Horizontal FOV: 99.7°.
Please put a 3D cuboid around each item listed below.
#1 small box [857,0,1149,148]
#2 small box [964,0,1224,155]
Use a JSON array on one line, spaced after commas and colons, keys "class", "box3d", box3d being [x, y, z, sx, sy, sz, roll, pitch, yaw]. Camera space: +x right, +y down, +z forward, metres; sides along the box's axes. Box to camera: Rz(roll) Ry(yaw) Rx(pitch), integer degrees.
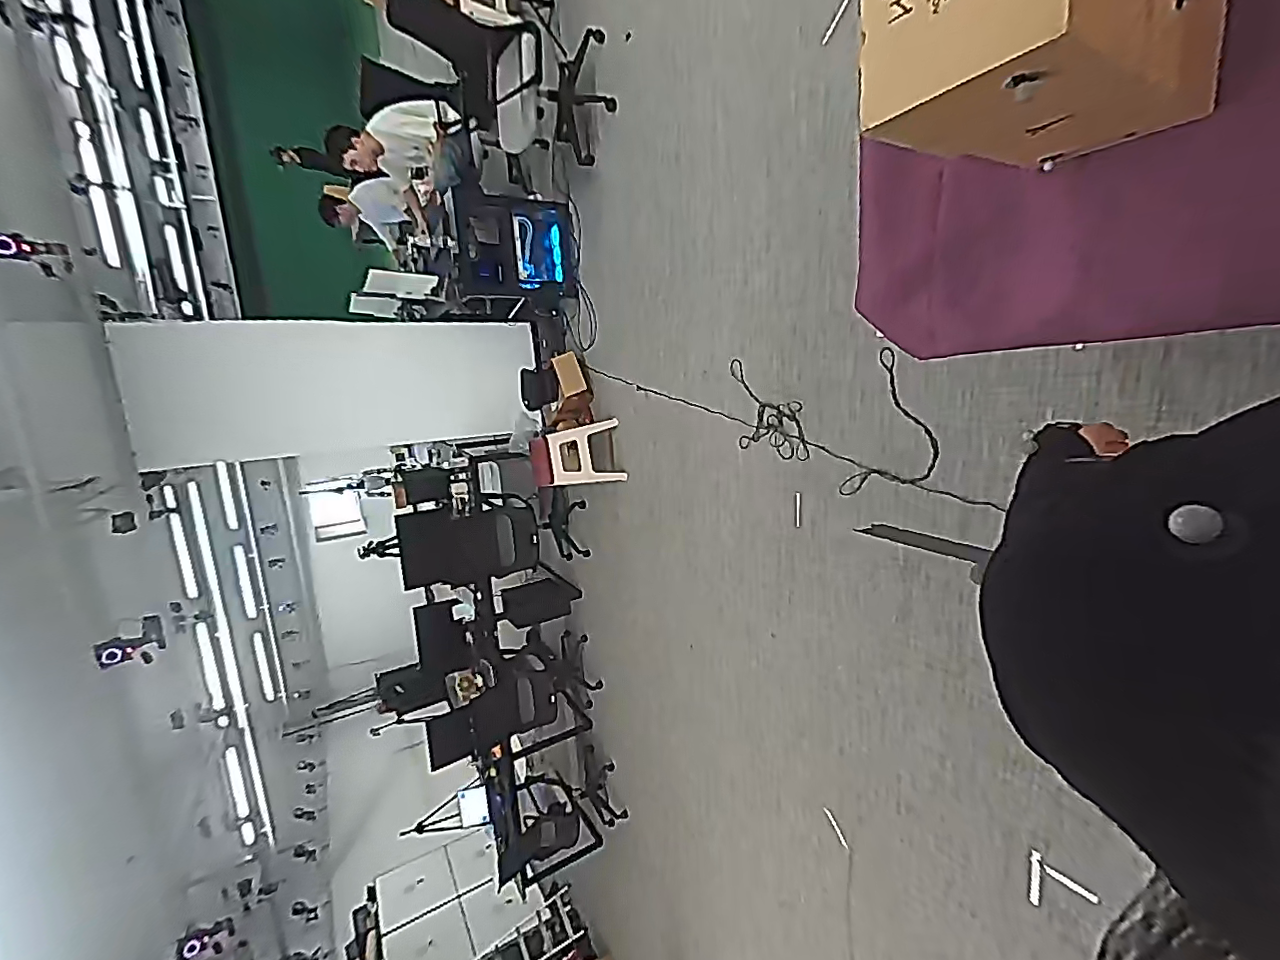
[{"class": "small box", "box3d": [0.320, -0.424, 0.480, 0.179, 0.176, 0.168, 14, 111, 58]}, {"class": "small box", "box3d": [0.462, -0.458, 0.557, 0.168, 0.176, 0.179, 15, 111, 58]}]
